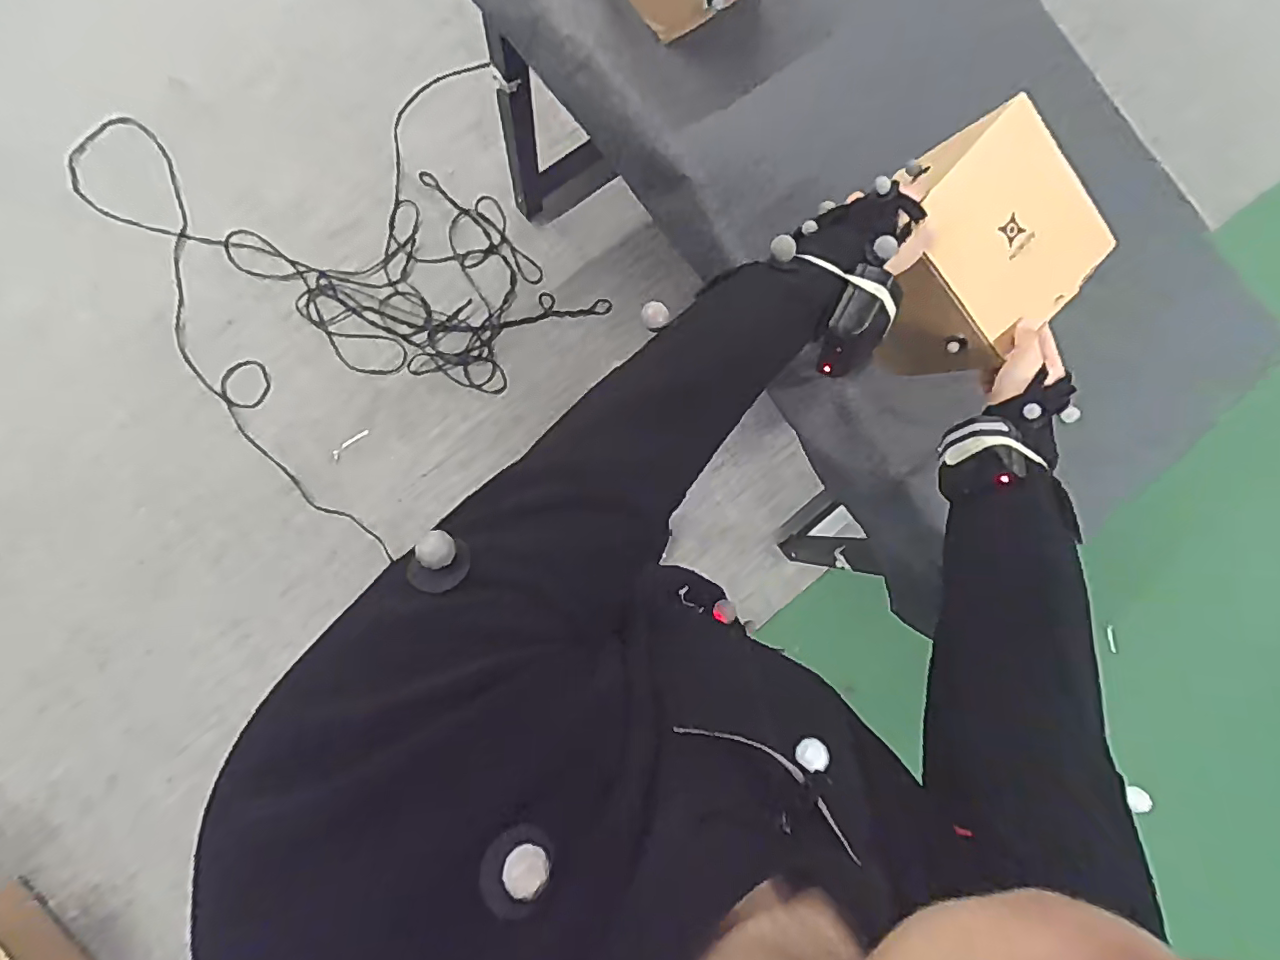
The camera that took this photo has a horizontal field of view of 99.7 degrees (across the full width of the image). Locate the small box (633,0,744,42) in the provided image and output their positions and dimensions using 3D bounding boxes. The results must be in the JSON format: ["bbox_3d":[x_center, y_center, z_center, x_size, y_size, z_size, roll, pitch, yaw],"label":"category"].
[{"bbox_3d":[0.056,-0.680,0.628,0.168,0.176,0.179,-39,92,-7],"label":"small box"}]

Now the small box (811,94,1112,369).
[{"bbox_3d":[0.316,-0.233,0.565,0.179,0.176,0.168,43,87,-14],"label":"small box"}]
